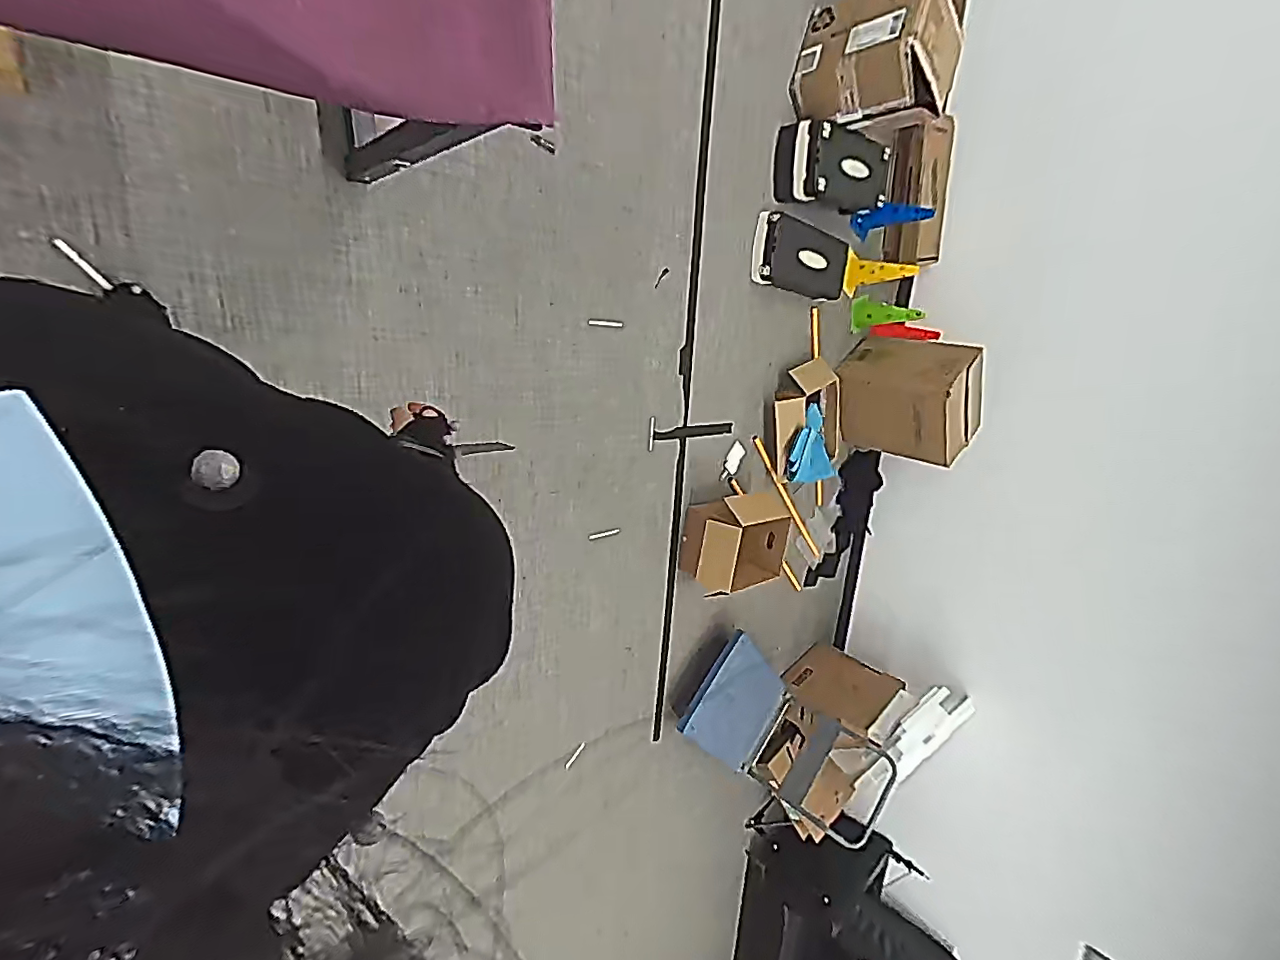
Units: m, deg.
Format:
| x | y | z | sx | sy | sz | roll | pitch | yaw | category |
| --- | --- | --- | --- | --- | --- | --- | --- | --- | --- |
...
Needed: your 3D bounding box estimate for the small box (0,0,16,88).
| x | y | z | sx | sy | sz | roll | pitch | yaw | category |
| --- | --- | --- | --- | --- | --- | --- | --- | --- | --- |
| -1.055 | -0.711 | 0.787 | 0.168 | 0.176 | 0.179 | -11 | 111 | -43 | small box |
